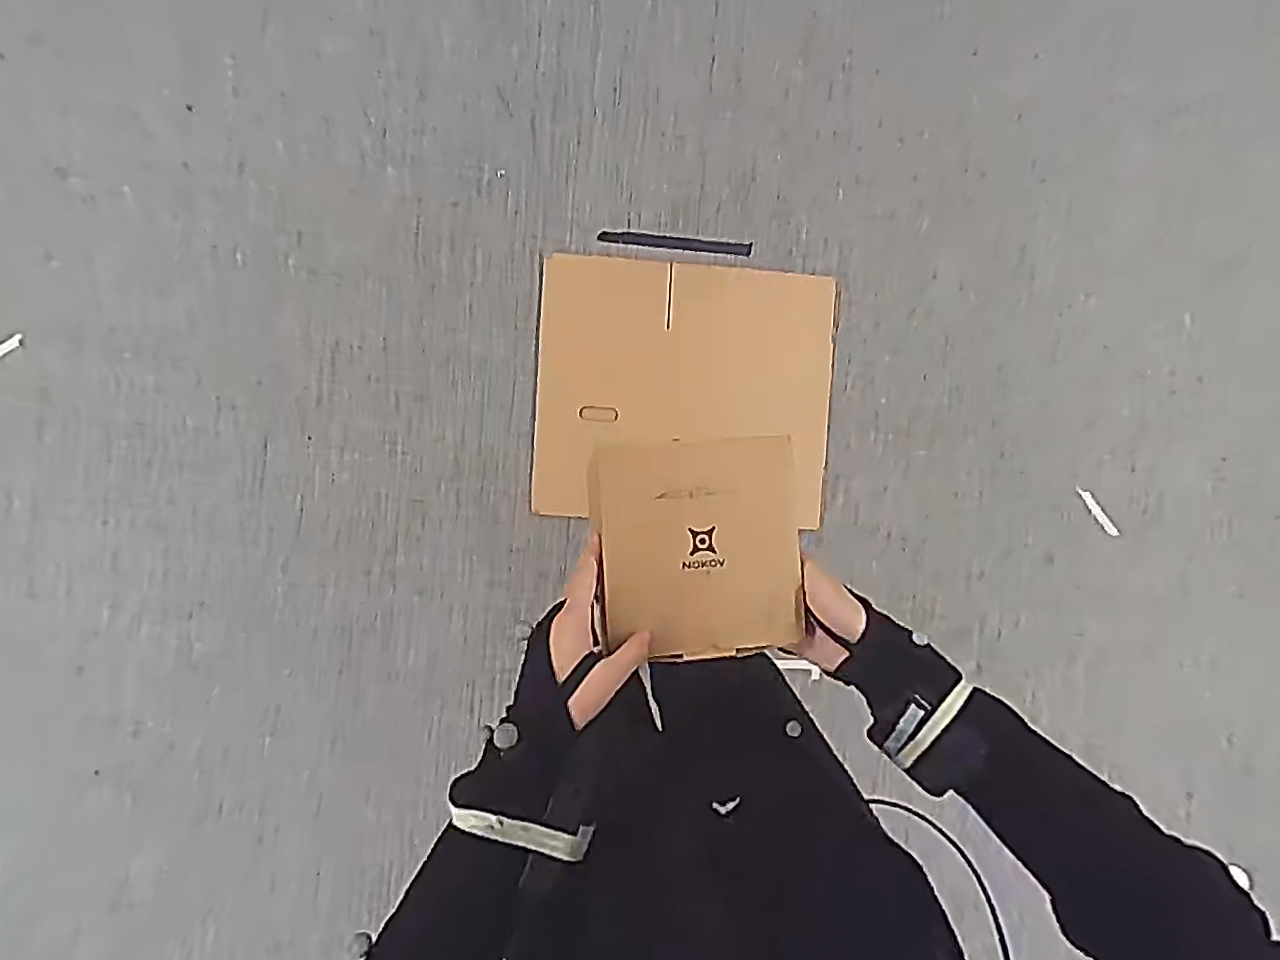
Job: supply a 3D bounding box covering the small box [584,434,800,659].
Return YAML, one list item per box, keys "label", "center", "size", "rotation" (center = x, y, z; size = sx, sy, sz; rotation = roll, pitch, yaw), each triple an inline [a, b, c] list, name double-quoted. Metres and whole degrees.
- label: "small box"
  center: [0.036, 0.056, 0.519]
  size: [0.168, 0.176, 0.179]
  rotation: [-3, 86, -10]
